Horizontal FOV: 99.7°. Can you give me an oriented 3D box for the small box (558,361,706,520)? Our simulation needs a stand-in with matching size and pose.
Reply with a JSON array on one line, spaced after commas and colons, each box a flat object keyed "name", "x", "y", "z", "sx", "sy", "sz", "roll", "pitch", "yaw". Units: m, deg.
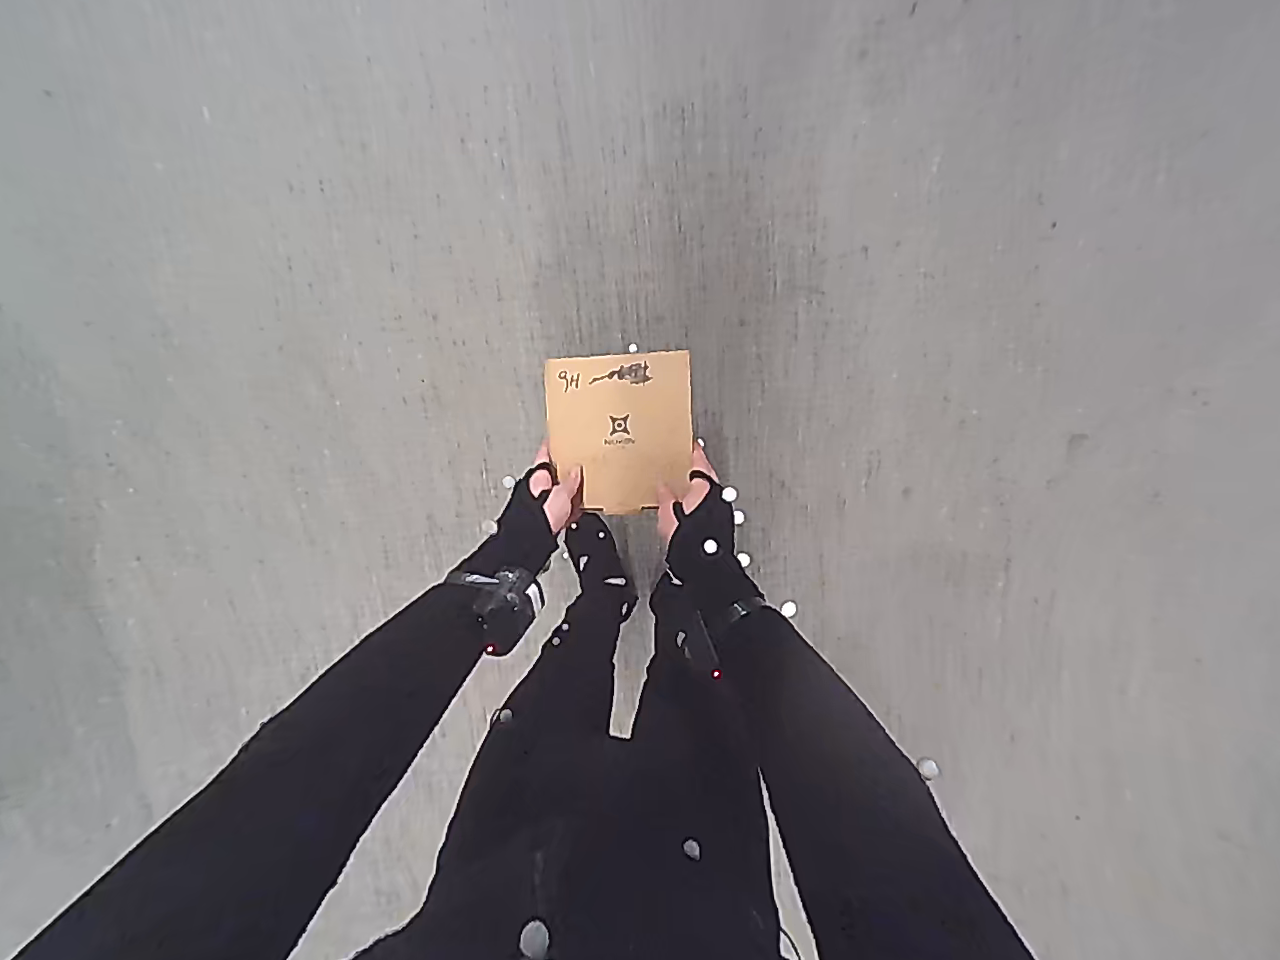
[{"name": "small box", "x": -0.001, "y": -0.049, "z": 0.702, "sx": 0.168, "sy": 0.176, "sz": 0.179, "roll": -4, "pitch": 93, "yaw": 6}]
